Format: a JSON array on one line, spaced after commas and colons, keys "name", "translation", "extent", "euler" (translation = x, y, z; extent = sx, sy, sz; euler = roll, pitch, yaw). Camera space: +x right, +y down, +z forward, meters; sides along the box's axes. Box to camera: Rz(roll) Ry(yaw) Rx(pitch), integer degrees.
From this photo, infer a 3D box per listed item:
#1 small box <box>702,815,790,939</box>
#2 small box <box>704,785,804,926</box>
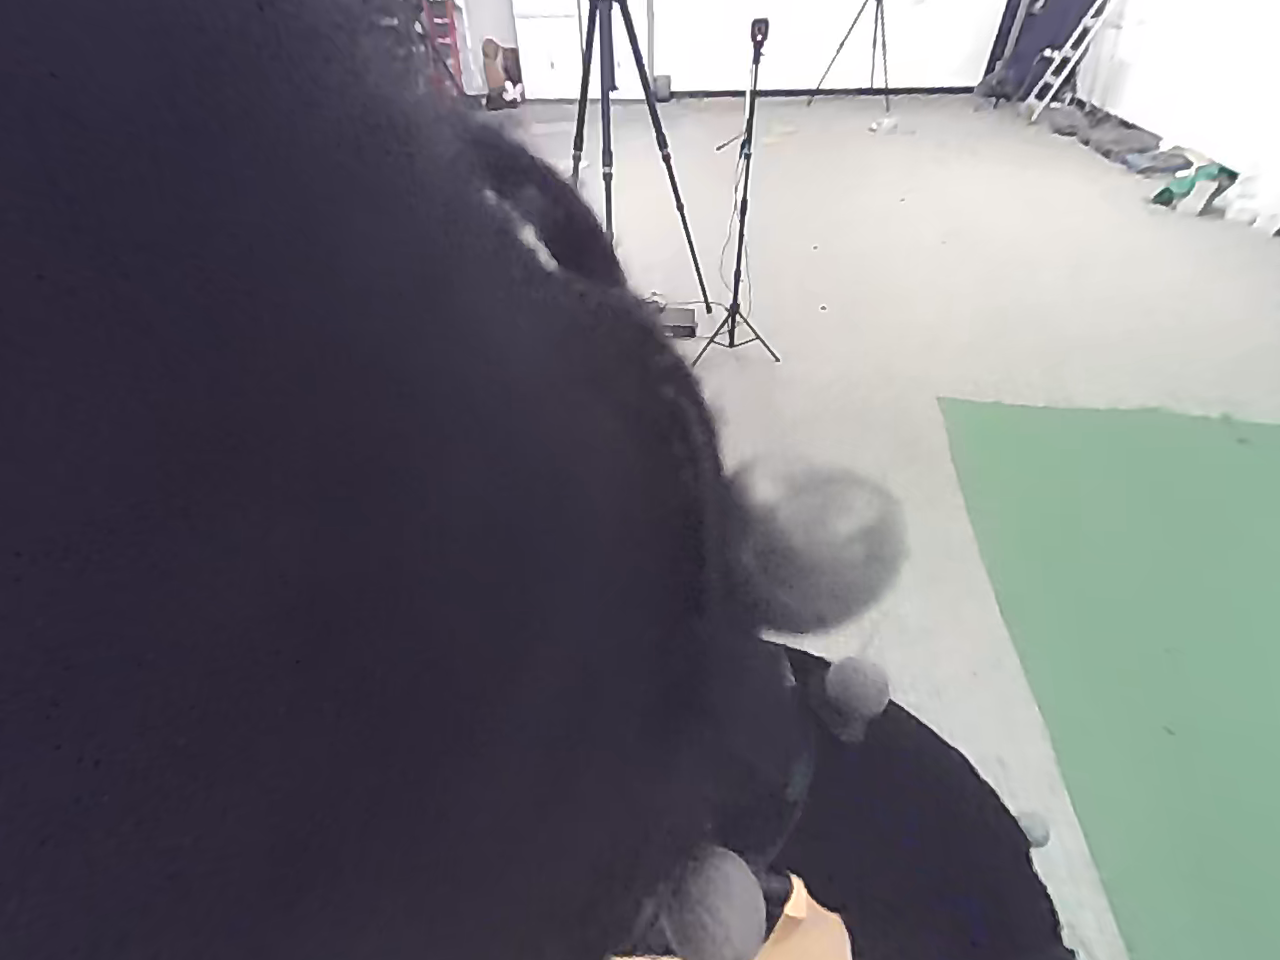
[{"name": "small box", "translation": [0.216, 0.836, 1.139], "extent": [0.168, 0.176, 0.179], "euler": [1, 45, 7]}, {"name": "small box", "translation": [0.211, 0.715, 1.030], "extent": [0.168, 0.176, 0.179], "euler": [4, 46, 9]}]
